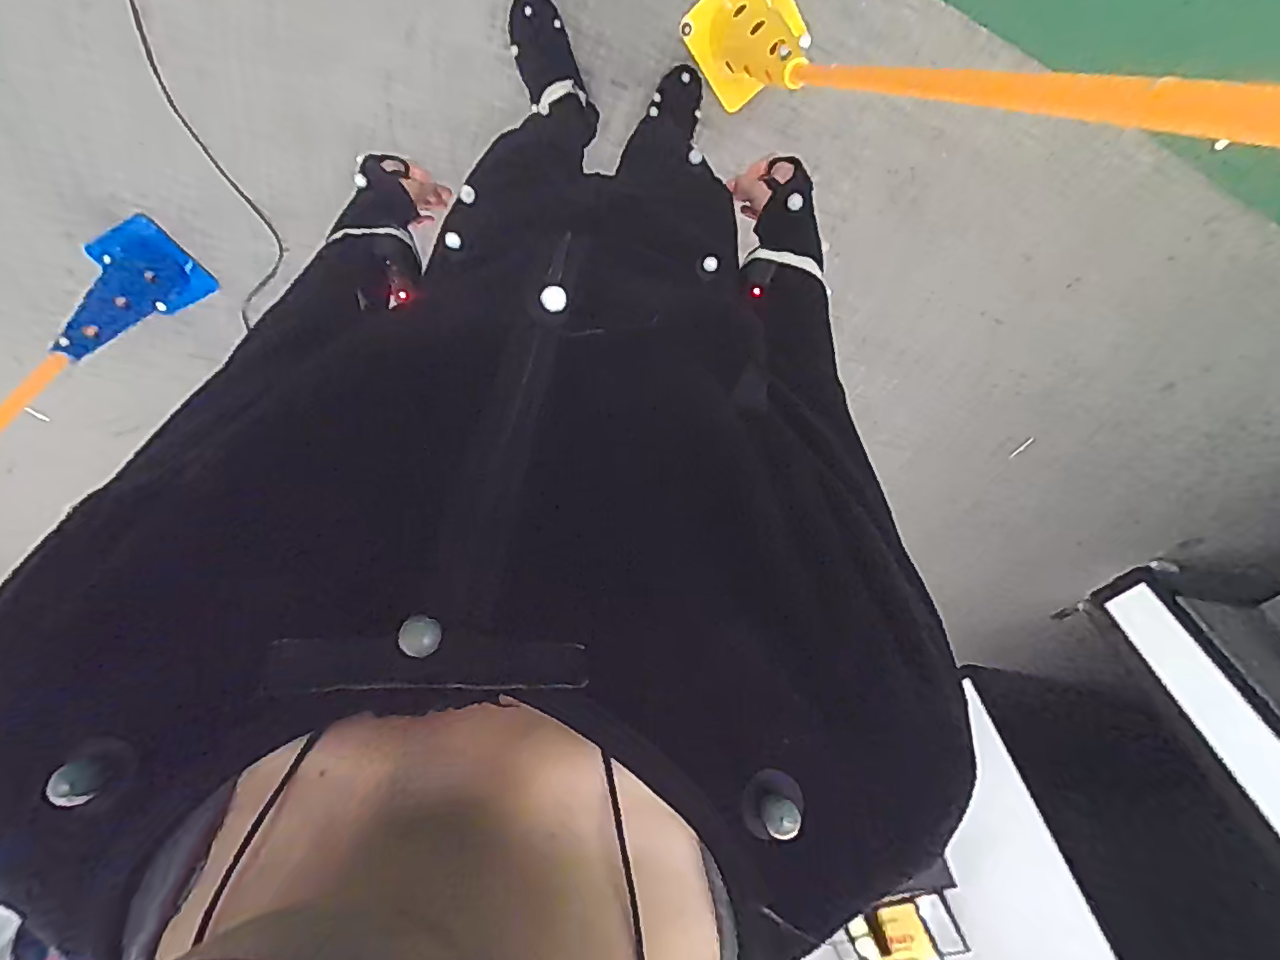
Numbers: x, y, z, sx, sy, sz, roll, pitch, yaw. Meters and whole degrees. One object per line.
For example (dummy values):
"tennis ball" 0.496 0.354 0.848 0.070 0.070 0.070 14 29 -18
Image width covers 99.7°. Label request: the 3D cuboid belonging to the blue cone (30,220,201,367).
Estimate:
"blue cone" -1.154 -0.365 1.162 0.193 0.380 0.192 -19 138 15
